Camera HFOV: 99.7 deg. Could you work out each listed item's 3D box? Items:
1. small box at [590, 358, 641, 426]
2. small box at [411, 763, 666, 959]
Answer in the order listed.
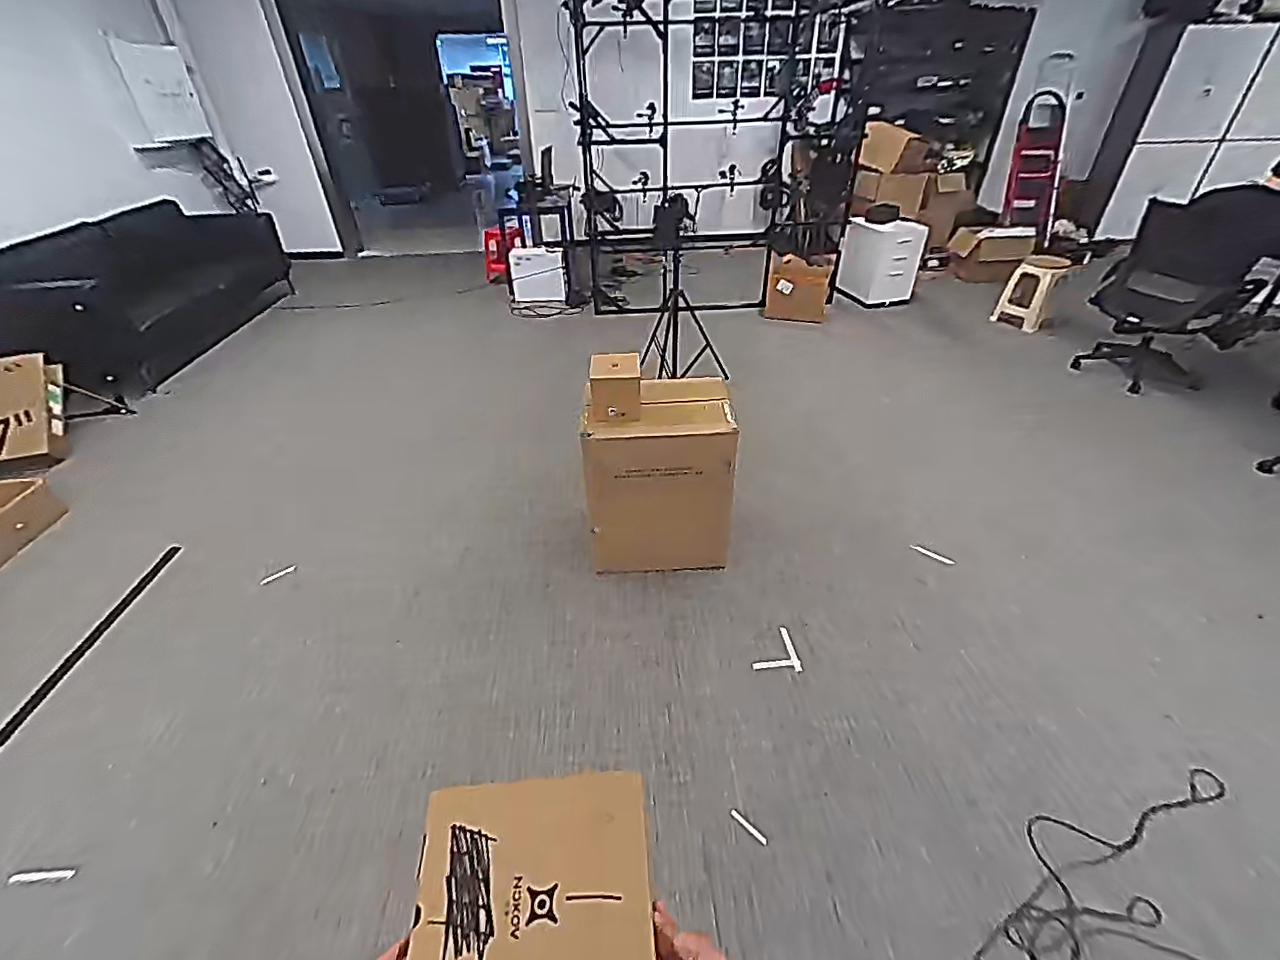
[{"bbox_3d":[-0.083,-0.301,1.847,0.168,0.176,0.179,-3,39,-1],"label":"small box"},{"bbox_3d":[-0.071,0.359,0.454,0.179,0.176,0.168,-5,46,-2],"label":"small box"}]
